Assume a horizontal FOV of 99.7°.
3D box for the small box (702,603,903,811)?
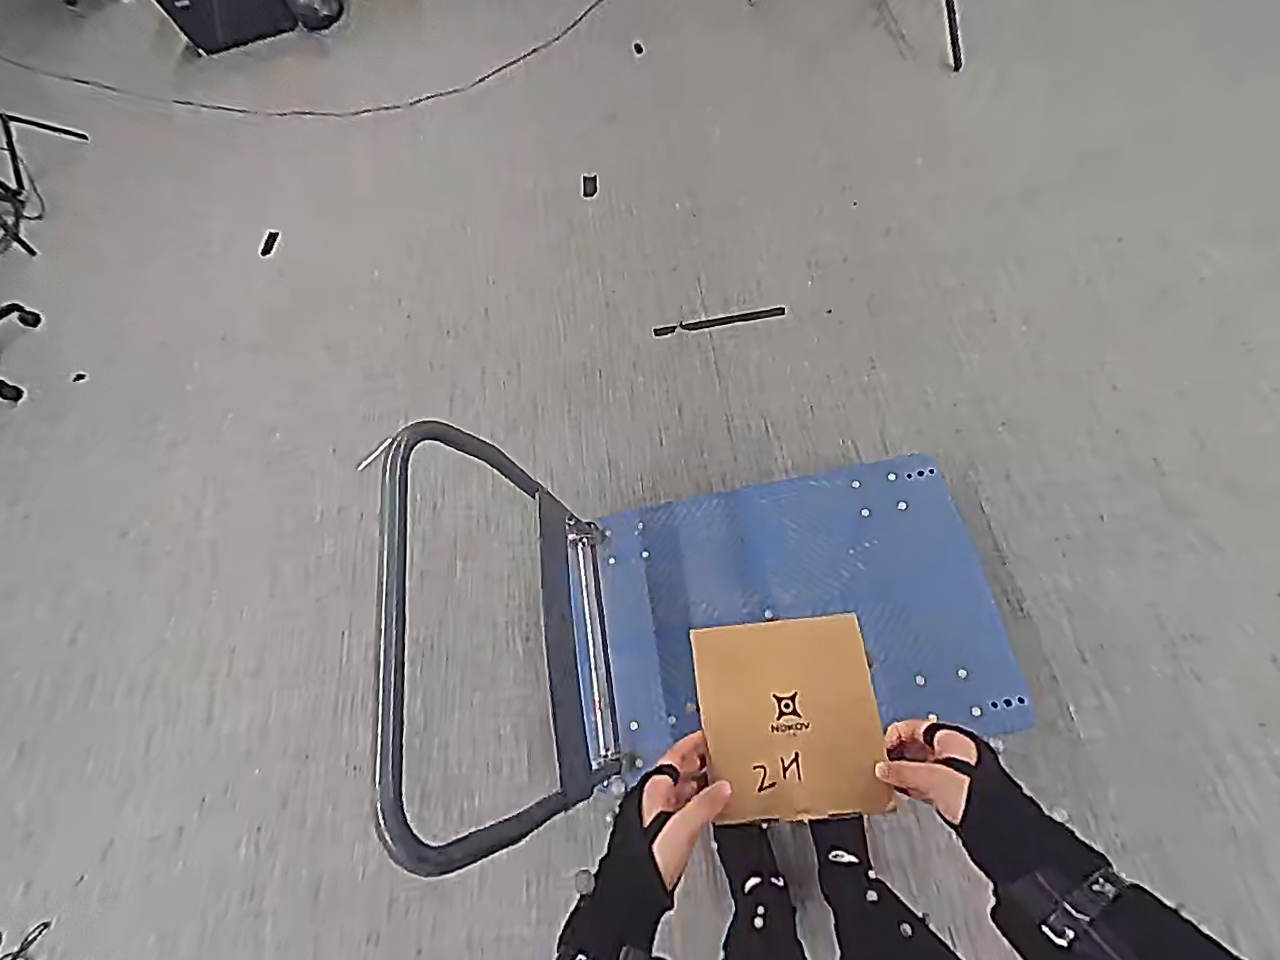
[{"bbox_3d":[0.158,0.238,0.591,0.168,0.176,0.179,-8,72,6],"label":"small box"}]
